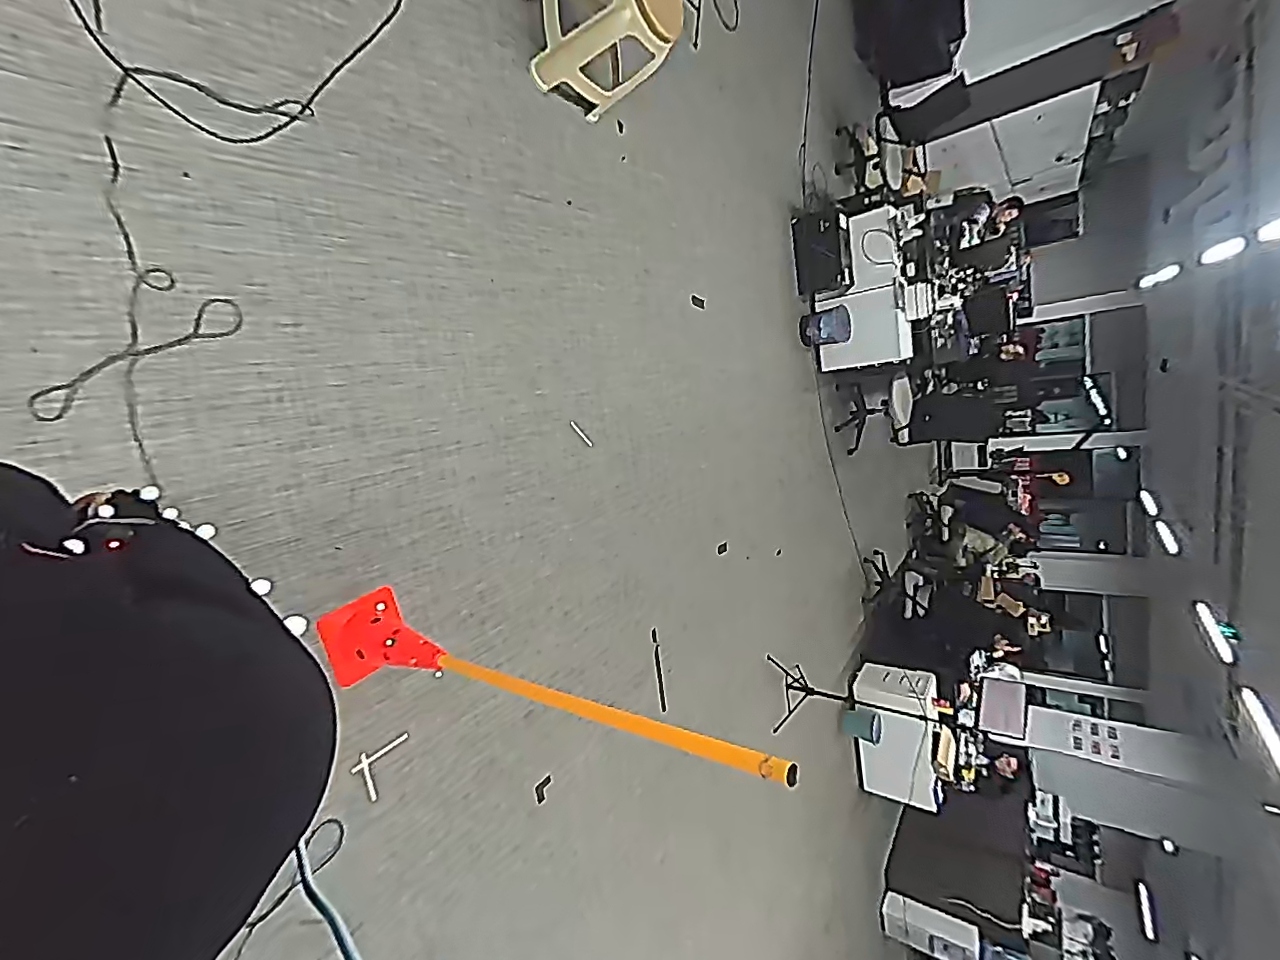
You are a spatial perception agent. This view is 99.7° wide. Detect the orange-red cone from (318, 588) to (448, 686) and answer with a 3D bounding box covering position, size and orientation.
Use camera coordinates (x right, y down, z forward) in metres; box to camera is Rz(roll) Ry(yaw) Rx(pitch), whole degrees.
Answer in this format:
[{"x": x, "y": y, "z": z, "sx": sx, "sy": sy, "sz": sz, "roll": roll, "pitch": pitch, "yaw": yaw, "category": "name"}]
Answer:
[{"x": -0.572, "y": 0.398, "z": 1.284, "sx": 0.199, "sy": 0.360, "sz": 0.198, "roll": -27, "pitch": 109, "yaw": -48, "category": "orange-red cone"}]
